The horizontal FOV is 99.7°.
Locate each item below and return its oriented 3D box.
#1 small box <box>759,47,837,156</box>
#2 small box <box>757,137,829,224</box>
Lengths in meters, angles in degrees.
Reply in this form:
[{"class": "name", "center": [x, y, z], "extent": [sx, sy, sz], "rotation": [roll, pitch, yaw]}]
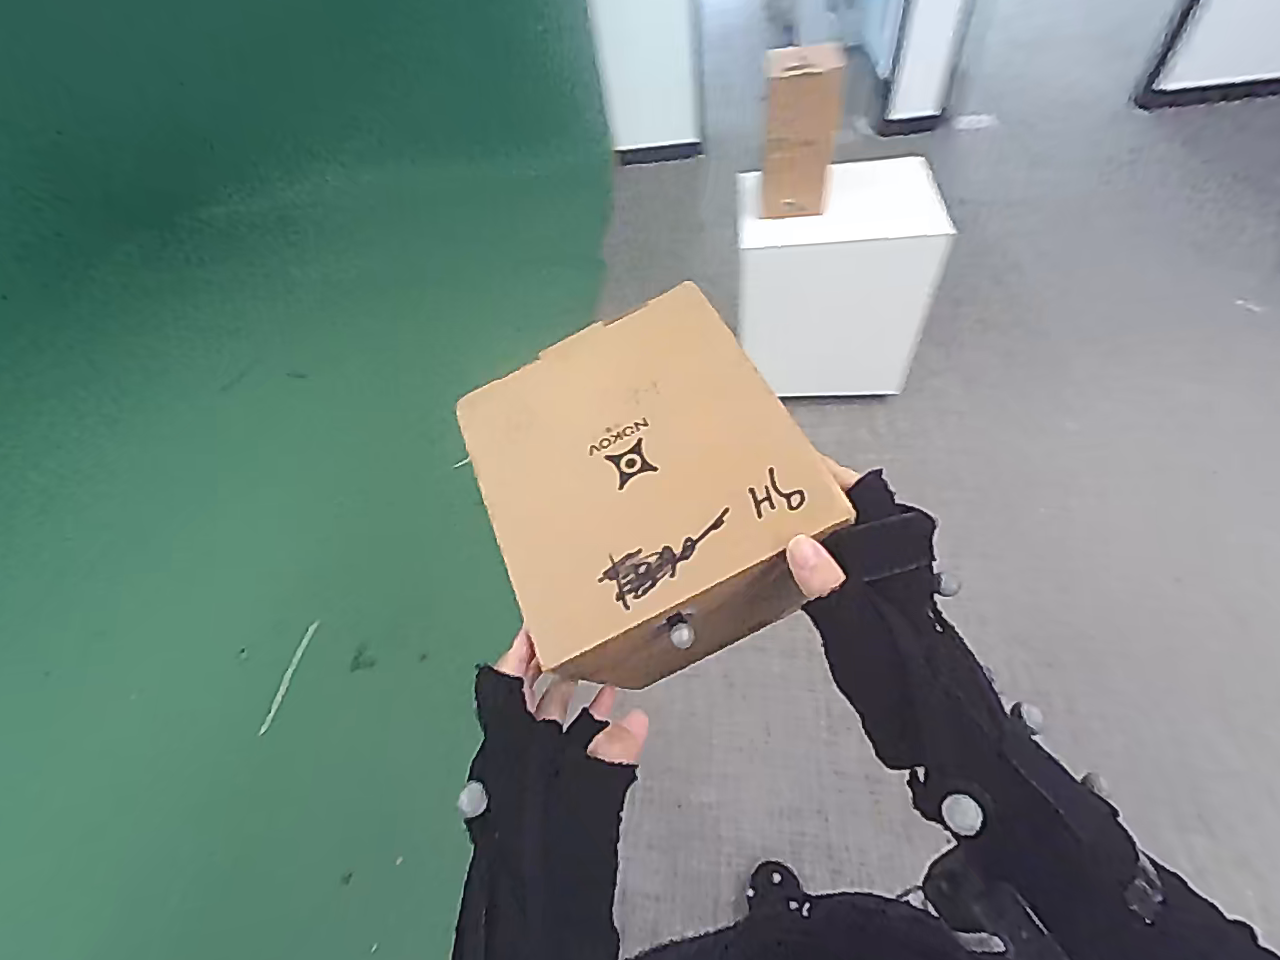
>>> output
[{"class": "small box", "center": [0.378, -0.911, 1.314], "extent": [0.168, 0.176, 0.179], "rotation": [0, 54, 10]}, {"class": "small box", "center": [0.401, -0.814, 1.446], "extent": [0.168, 0.176, 0.179], "rotation": [-2, 56, 9]}]
